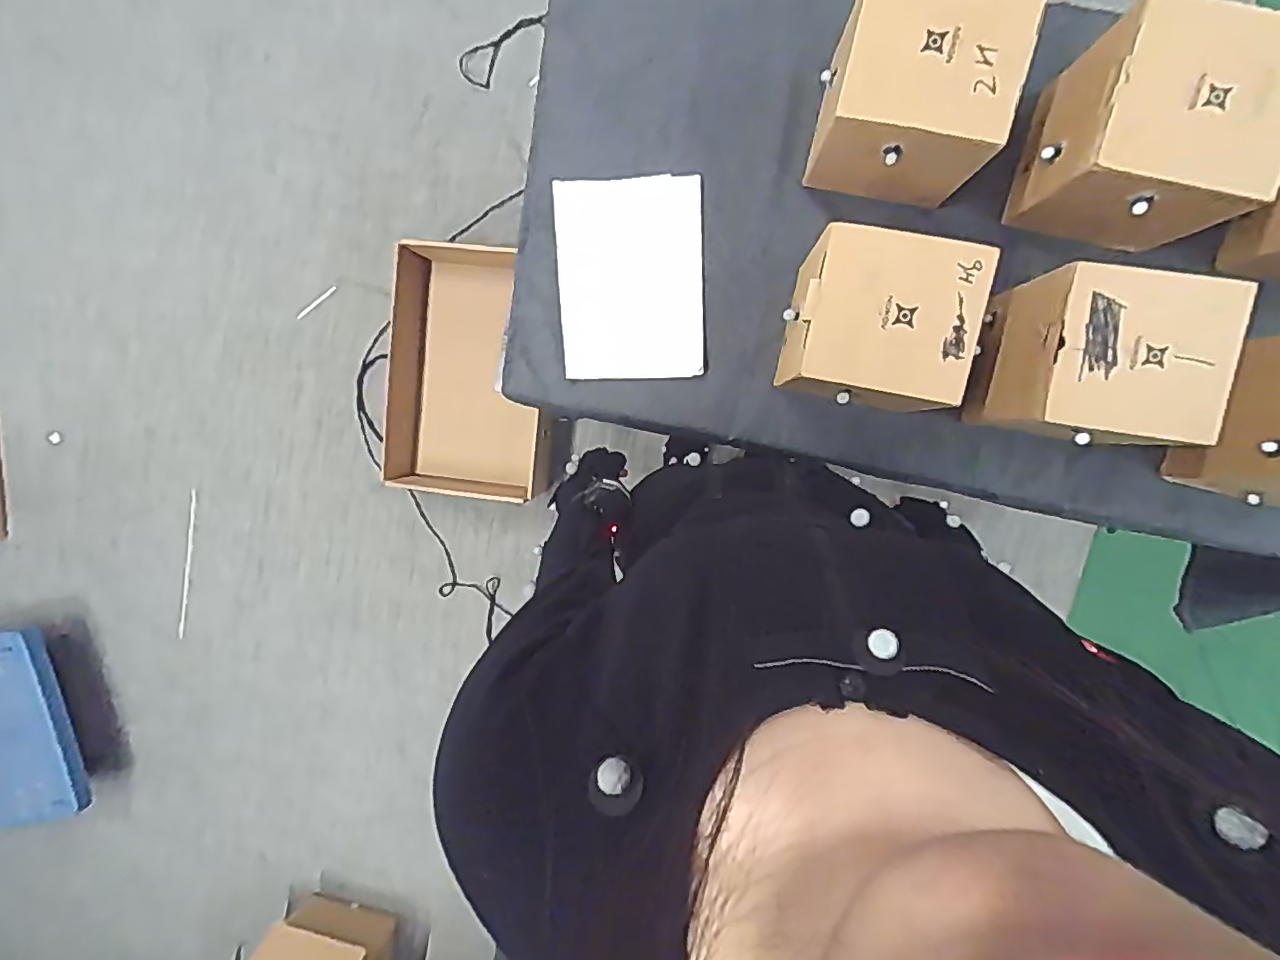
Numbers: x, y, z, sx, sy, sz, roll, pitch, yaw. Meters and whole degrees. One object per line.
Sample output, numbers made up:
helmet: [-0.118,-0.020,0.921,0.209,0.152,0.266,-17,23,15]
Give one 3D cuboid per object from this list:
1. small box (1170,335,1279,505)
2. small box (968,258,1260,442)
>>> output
small box: [0.767,-0.063,0.606,0.168,0.176,0.179,15,96,4]
small box: [0.516,-0.136,0.620,0.179,0.176,0.168,9,96,4]
